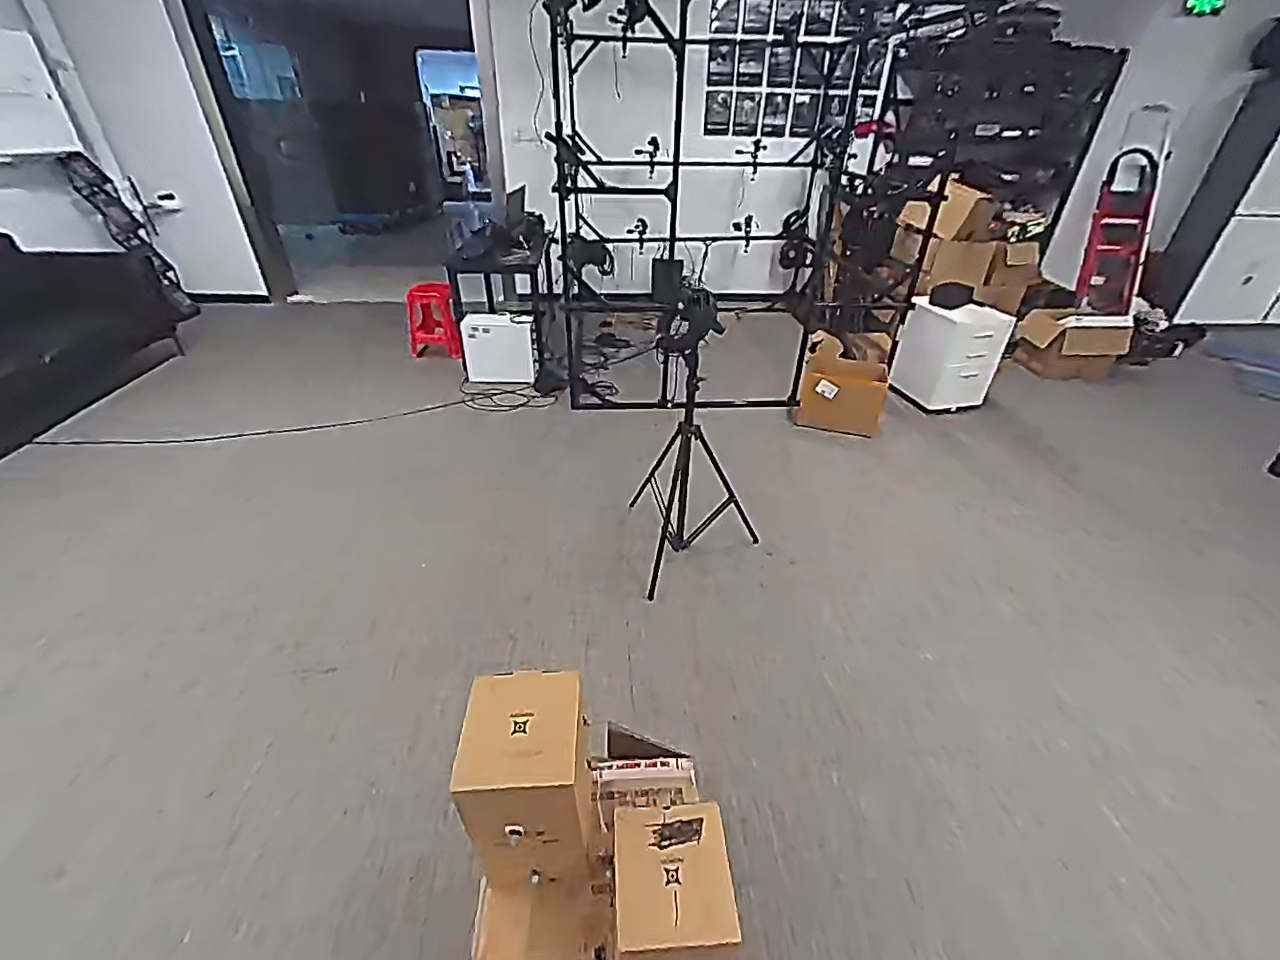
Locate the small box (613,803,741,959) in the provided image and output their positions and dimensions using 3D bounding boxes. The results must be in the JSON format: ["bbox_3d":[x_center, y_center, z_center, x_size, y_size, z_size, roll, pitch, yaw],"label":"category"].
[{"bbox_3d":[0.044,0.621,0.818,0.168,0.176,0.179,-1,36,-4],"label":"small box"}]

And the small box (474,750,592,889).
[{"bbox_3d":[-0.169,0.550,0.911,0.168,0.176,0.179,-2,35,-3],"label":"small box"}]

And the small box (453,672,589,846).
[{"bbox_3d":[-0.167,0.418,0.817,0.168,0.176,0.179,-3,36,-2],"label":"small box"}]
